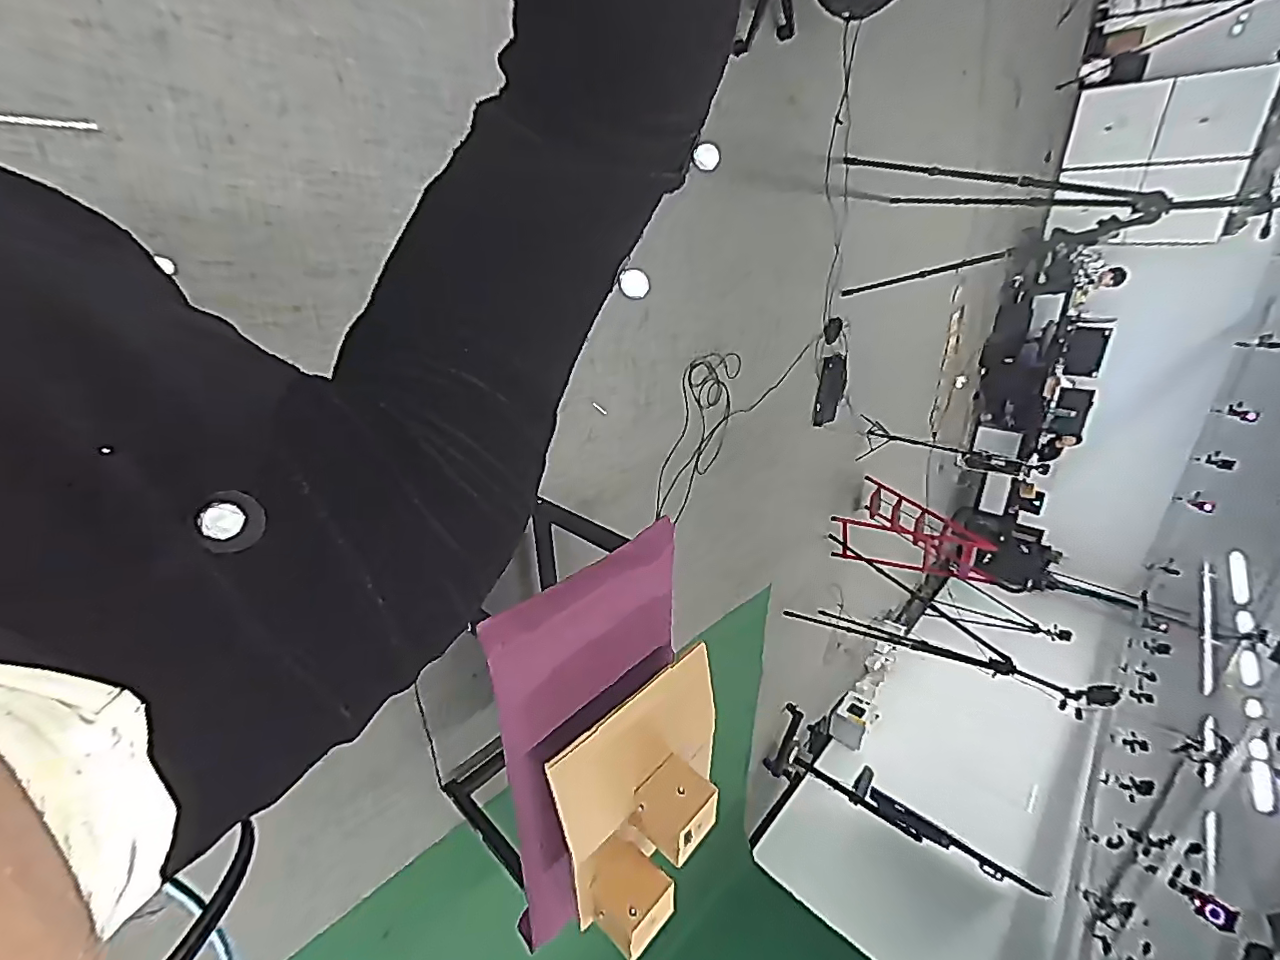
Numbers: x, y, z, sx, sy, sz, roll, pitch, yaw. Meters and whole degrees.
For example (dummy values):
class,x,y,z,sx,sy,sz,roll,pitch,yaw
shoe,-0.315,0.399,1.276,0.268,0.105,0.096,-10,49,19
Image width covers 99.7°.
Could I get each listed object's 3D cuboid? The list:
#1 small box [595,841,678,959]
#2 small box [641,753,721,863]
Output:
class,x,y,z,sx,sy,sz,roll,pitch,yaw
small box,-0.009,1.200,1.559,0.179,0.176,0.168,-26,126,-39
small box,0.116,0.950,1.579,0.179,0.176,0.168,-27,128,-40
